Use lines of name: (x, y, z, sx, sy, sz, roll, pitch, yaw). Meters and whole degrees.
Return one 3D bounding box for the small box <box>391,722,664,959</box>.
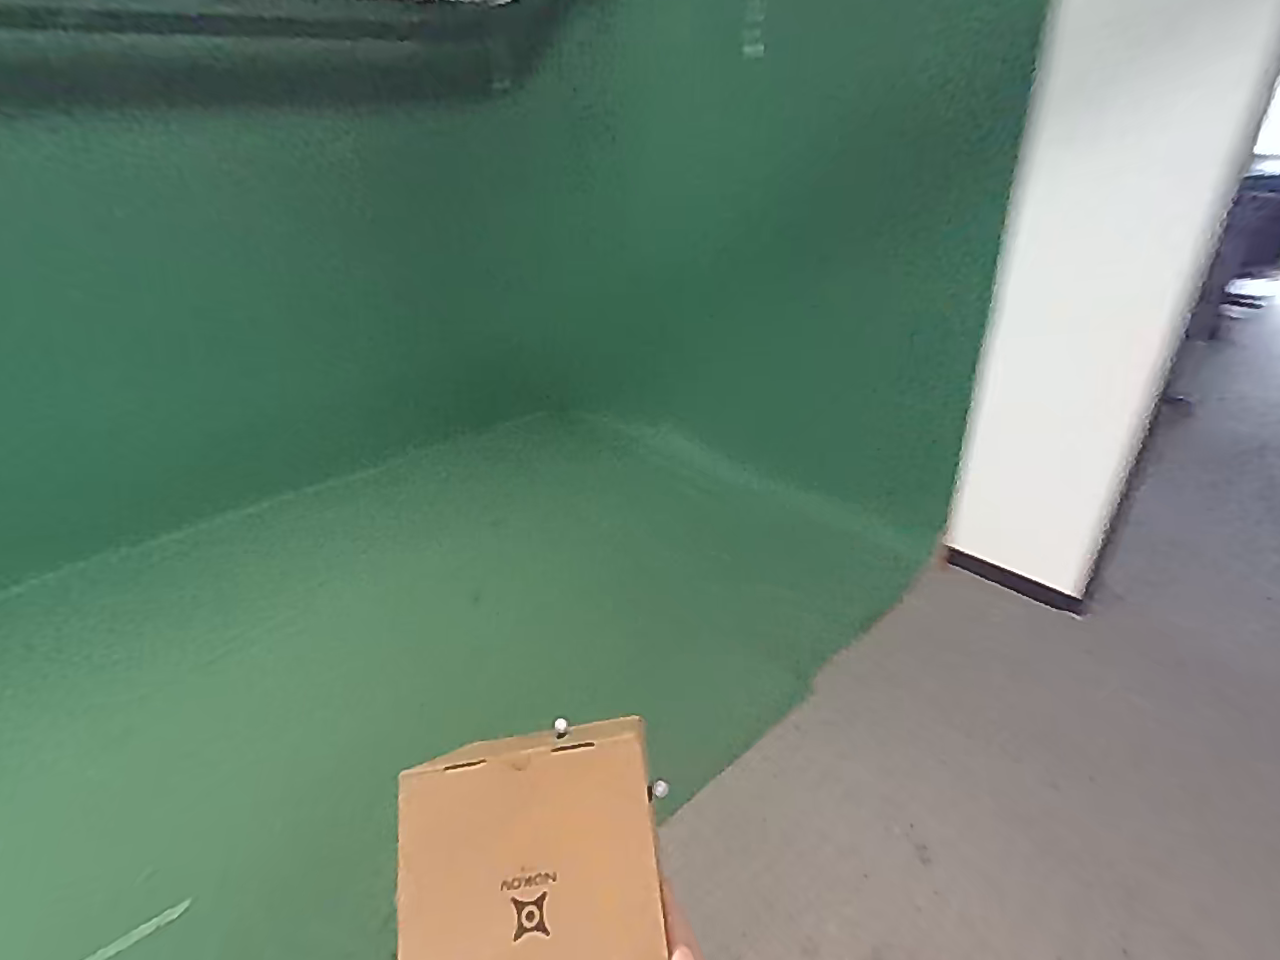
small box: (-0.073, 0.298, 0.415, 0.168, 0.176, 0.179, -8, 70, -3)
